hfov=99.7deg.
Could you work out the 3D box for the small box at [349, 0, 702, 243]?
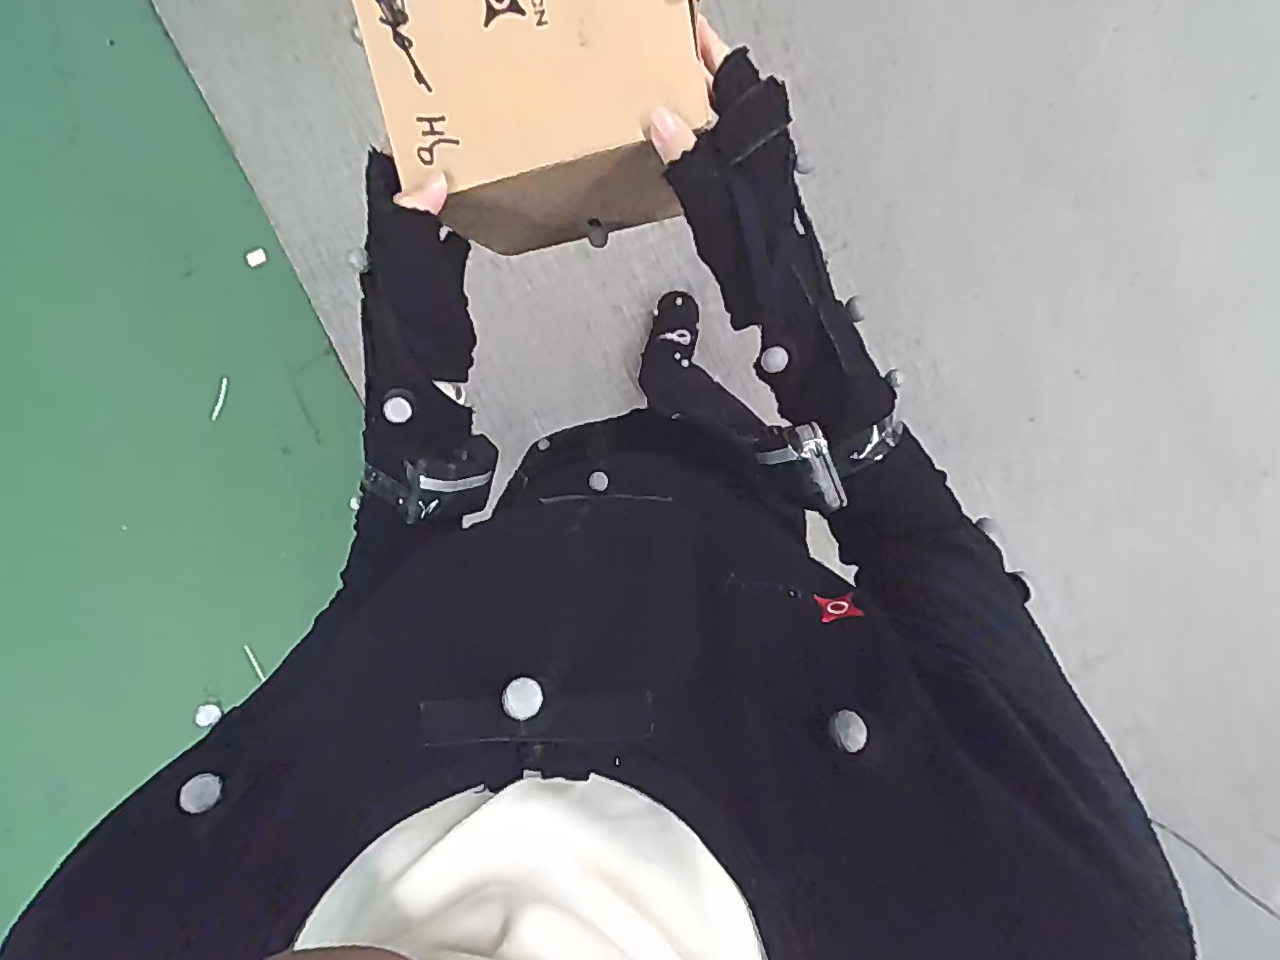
[{"bbox_3d":[-0.059,-0.272,0.354,0.179,0.176,0.168,-9,101,8],"label":"small box"}]
